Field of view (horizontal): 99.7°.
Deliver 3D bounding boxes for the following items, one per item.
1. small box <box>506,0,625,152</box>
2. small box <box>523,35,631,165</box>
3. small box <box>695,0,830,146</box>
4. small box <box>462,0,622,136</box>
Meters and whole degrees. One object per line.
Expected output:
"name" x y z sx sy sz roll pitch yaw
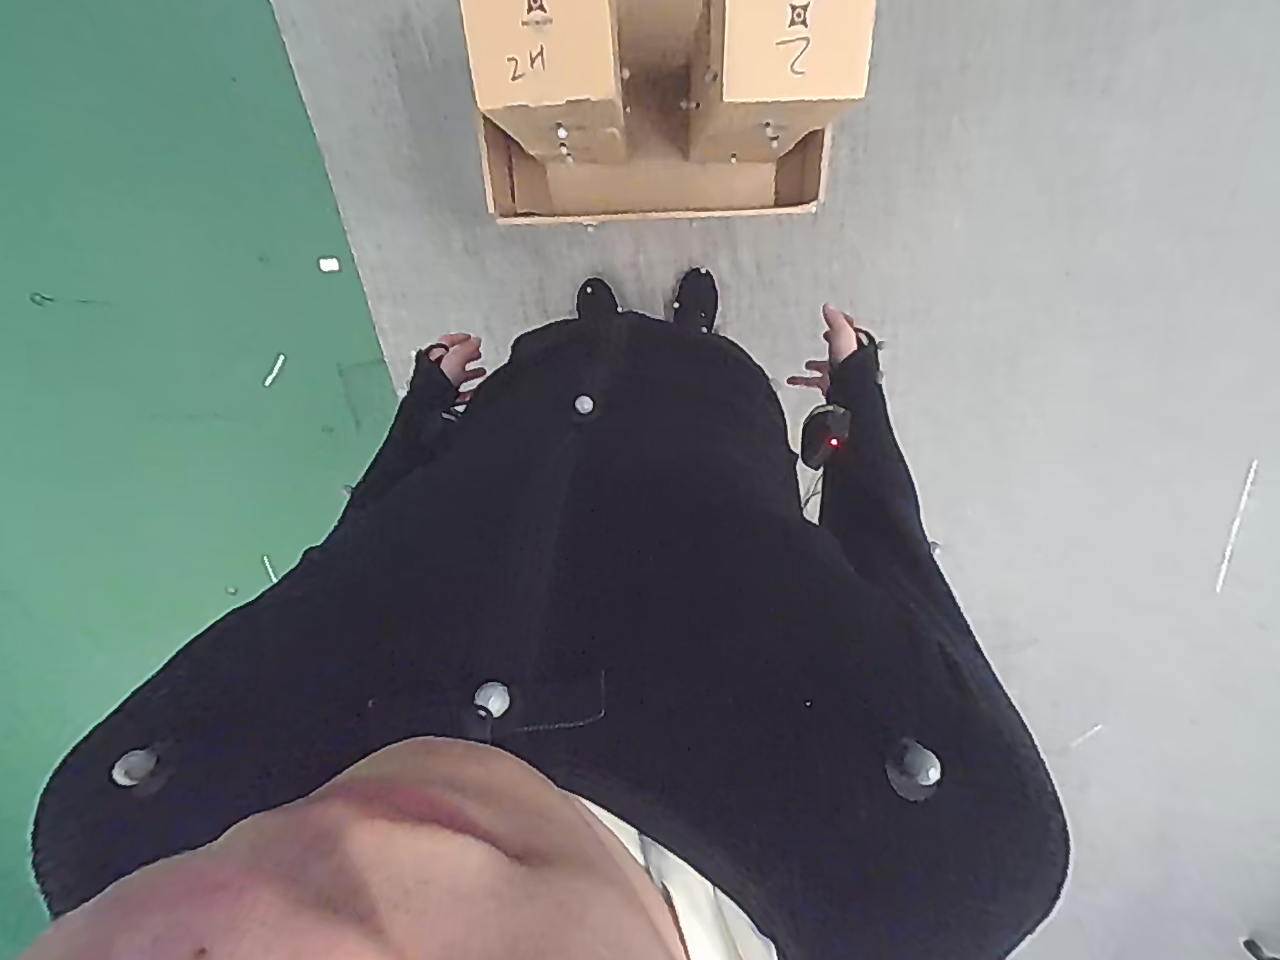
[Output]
"small box" -0.111 -0.616 0.823 0.168 0.176 0.179 1 113 2
"small box" -0.110 -0.675 0.976 0.179 0.176 0.168 2 113 1
"small box" 0.173 -0.613 0.810 0.168 0.176 0.179 0 112 1
"small box" -0.113 -0.551 0.672 0.168 0.176 0.179 -3 113 3
